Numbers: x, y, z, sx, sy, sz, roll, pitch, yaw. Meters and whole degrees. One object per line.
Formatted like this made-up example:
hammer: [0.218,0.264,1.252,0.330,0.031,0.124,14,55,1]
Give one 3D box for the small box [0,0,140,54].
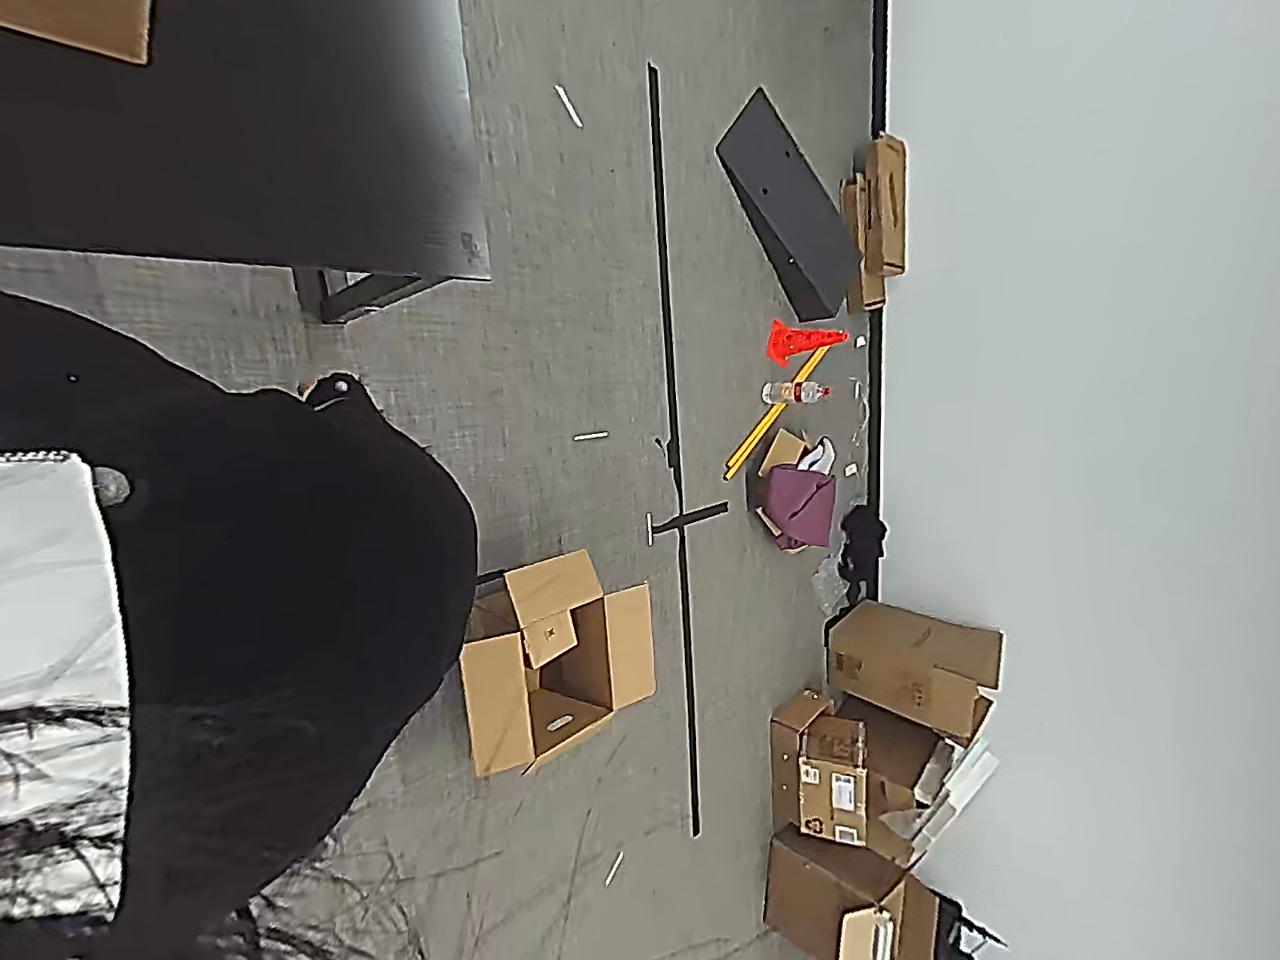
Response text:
small box: [-0.536,-0.496,0.439,0.179,0.176,0.168,-12,103,-42]
